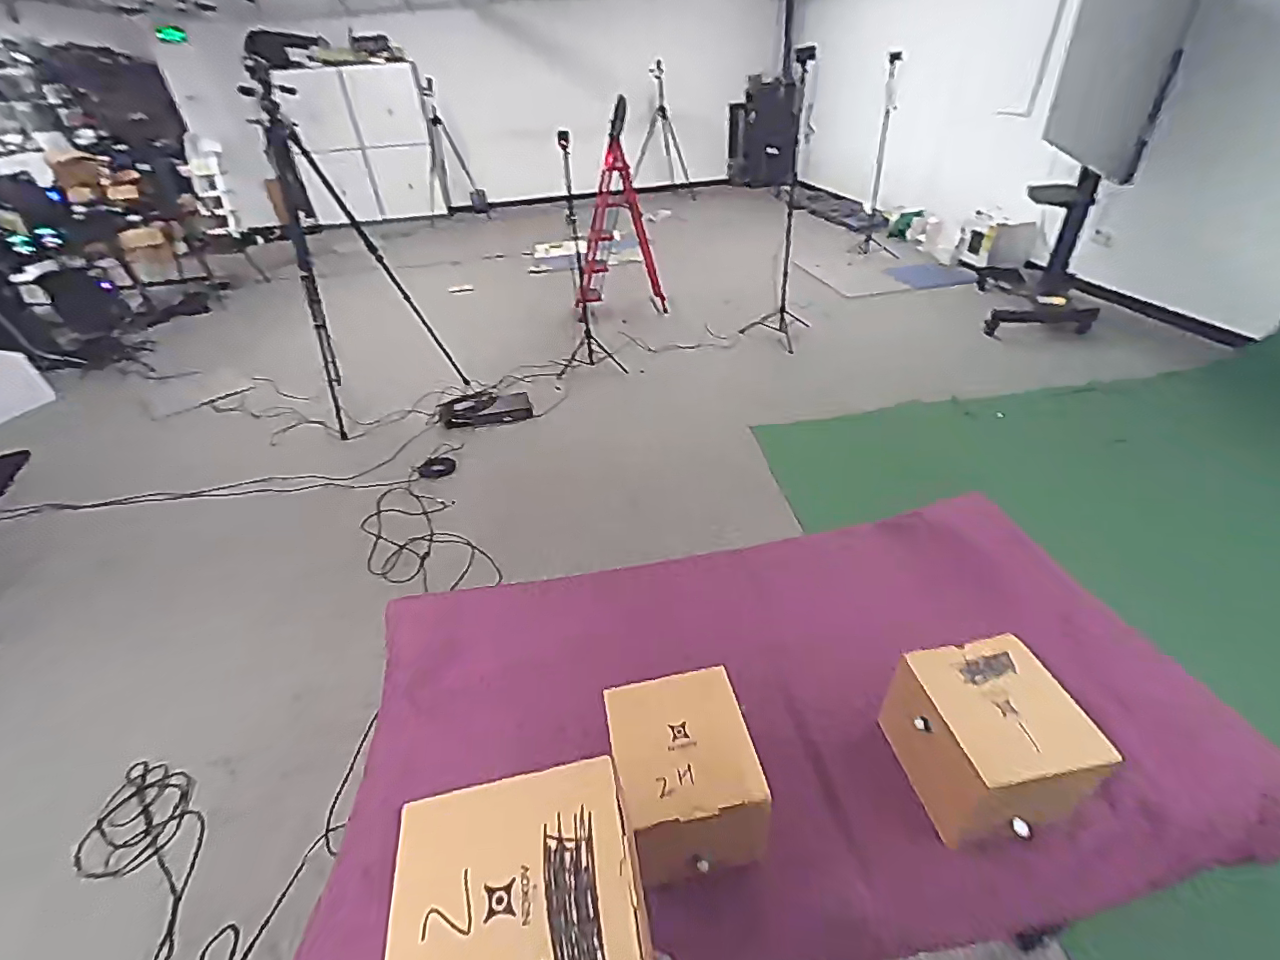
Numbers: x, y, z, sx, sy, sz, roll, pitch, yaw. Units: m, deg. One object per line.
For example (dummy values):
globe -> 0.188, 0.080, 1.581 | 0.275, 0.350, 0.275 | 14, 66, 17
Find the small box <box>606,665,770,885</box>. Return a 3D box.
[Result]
small box -> 0.053, 0.374, 0.696 | 0.168, 0.176, 0.179 | -10, 35, -6

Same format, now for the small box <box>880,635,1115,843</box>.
small box -> 0.445, 0.336, 0.712 | 0.168, 0.176, 0.179 | -9, 37, -5
